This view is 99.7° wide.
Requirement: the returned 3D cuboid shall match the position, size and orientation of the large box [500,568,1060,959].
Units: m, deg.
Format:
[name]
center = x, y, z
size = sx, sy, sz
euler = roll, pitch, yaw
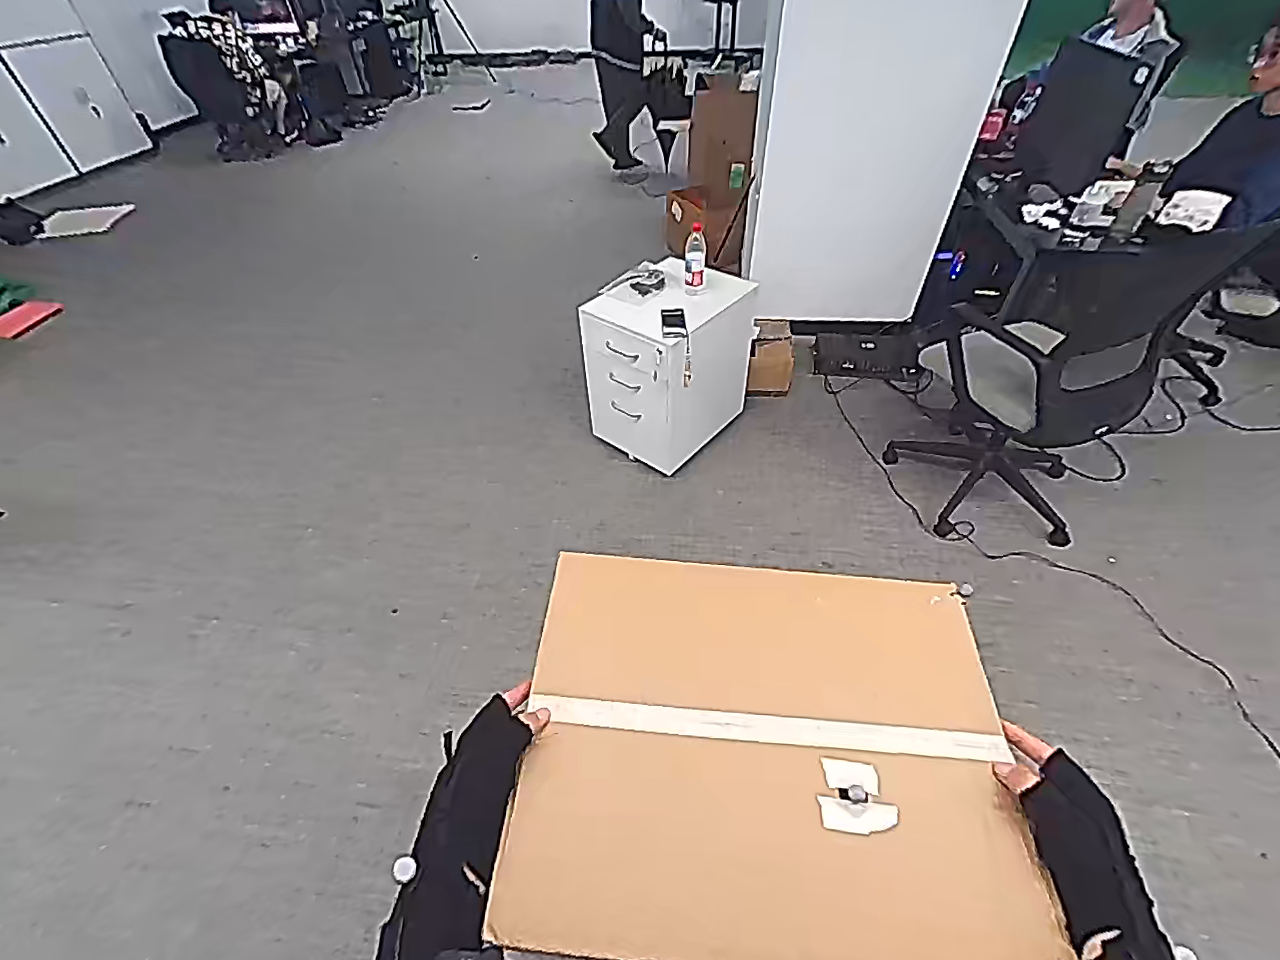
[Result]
[large box]
center = 0.102, 0.317, 0.583
size = 0.408, 0.320, 0.320
euler = 4, 52, 2
